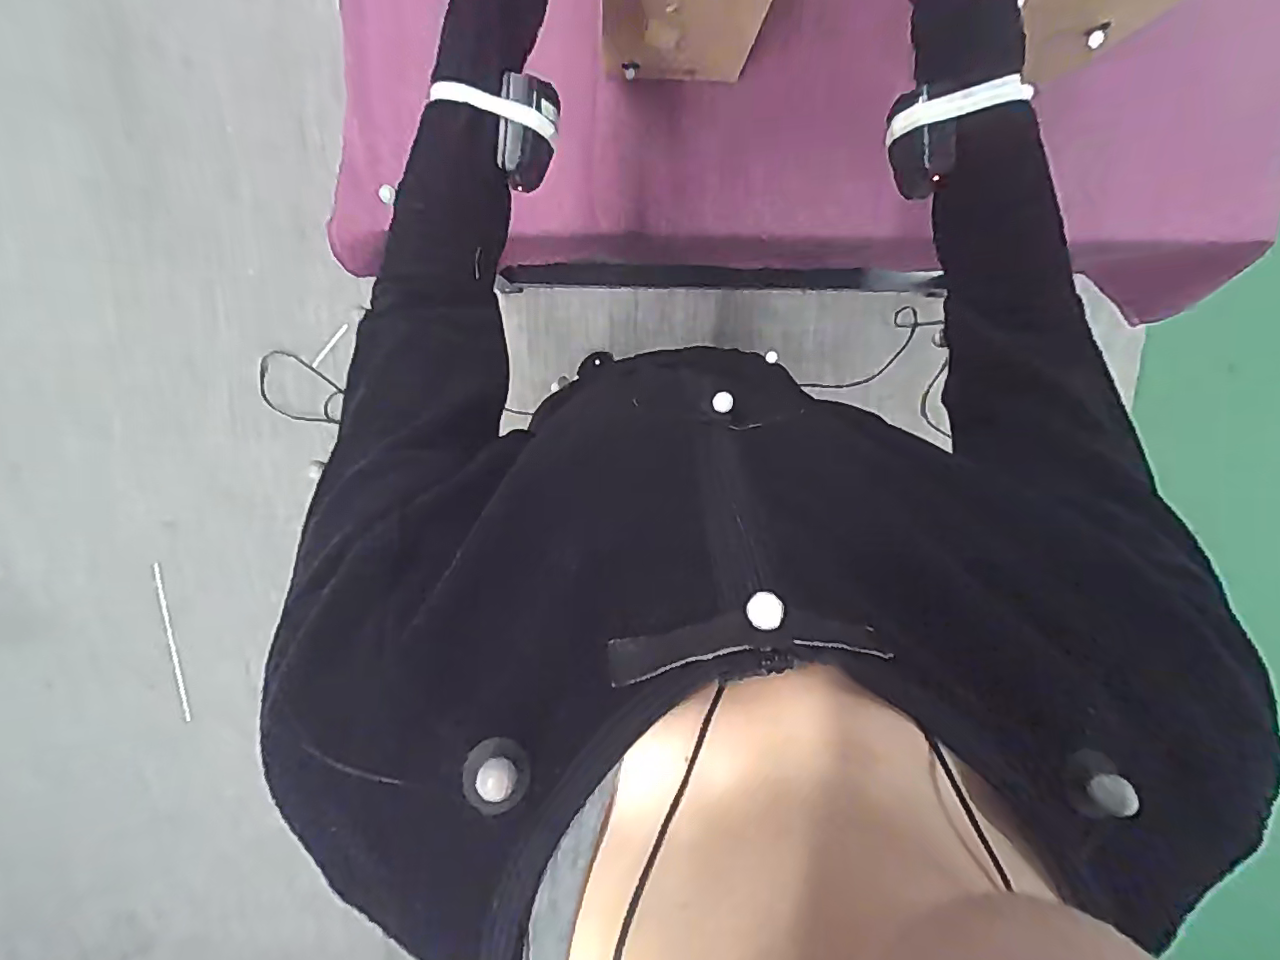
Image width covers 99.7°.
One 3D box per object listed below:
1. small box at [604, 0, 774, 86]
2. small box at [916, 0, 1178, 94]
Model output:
[{"bbox_3d":[0.046,-0.551,0.570,0.168,0.176,0.179,-1,101,-3],"label":"small box"},{"bbox_3d":[0.438,-0.553,0.588,0.179,0.176,0.168,1,101,-3],"label":"small box"}]
